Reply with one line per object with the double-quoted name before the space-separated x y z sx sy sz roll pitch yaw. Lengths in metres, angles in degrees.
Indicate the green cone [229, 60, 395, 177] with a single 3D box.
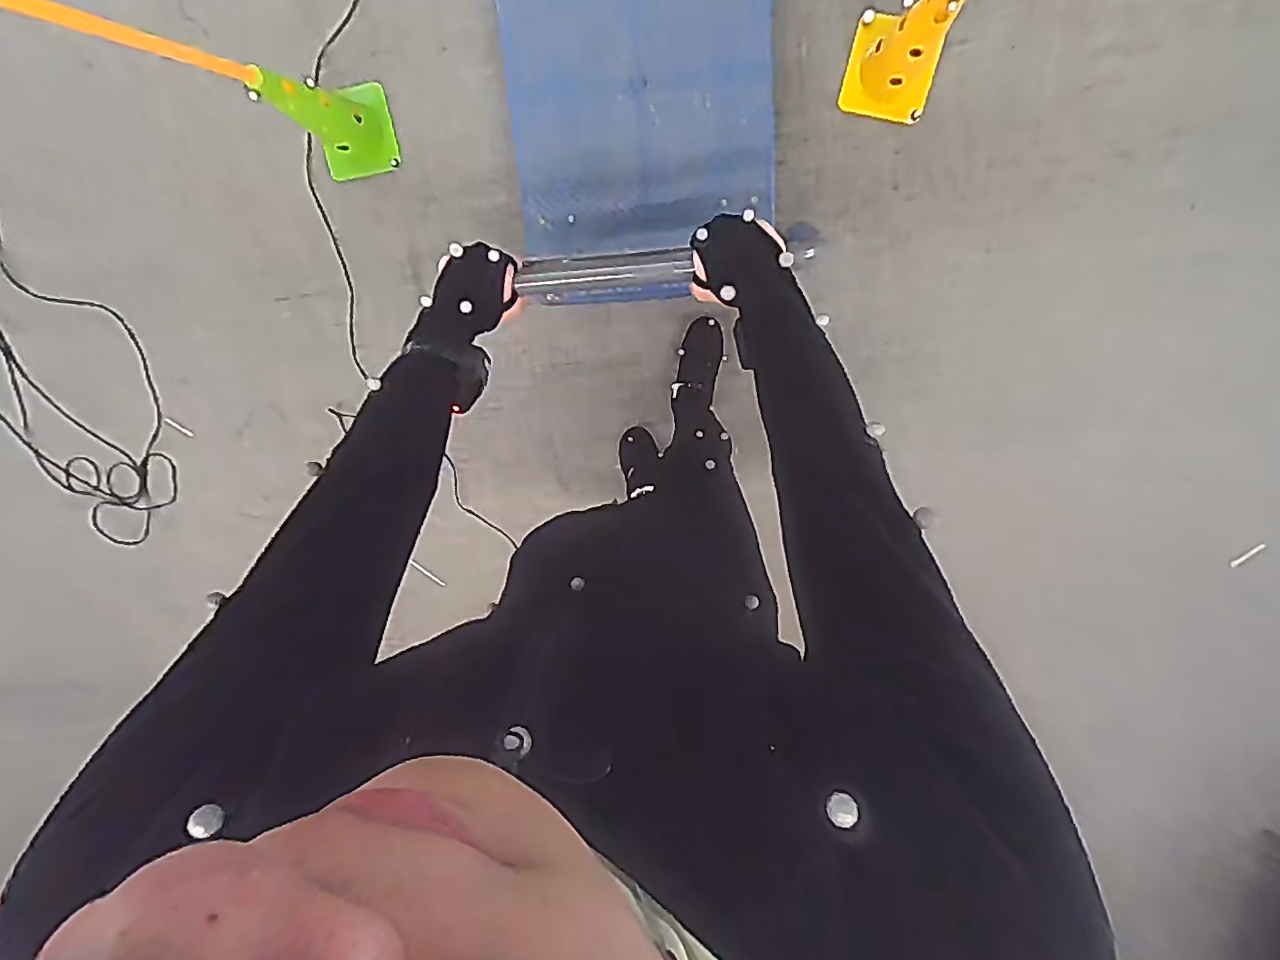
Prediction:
"green cone" -0.763 -0.858 1.228 0.202 0.368 0.200 -7 106 9
